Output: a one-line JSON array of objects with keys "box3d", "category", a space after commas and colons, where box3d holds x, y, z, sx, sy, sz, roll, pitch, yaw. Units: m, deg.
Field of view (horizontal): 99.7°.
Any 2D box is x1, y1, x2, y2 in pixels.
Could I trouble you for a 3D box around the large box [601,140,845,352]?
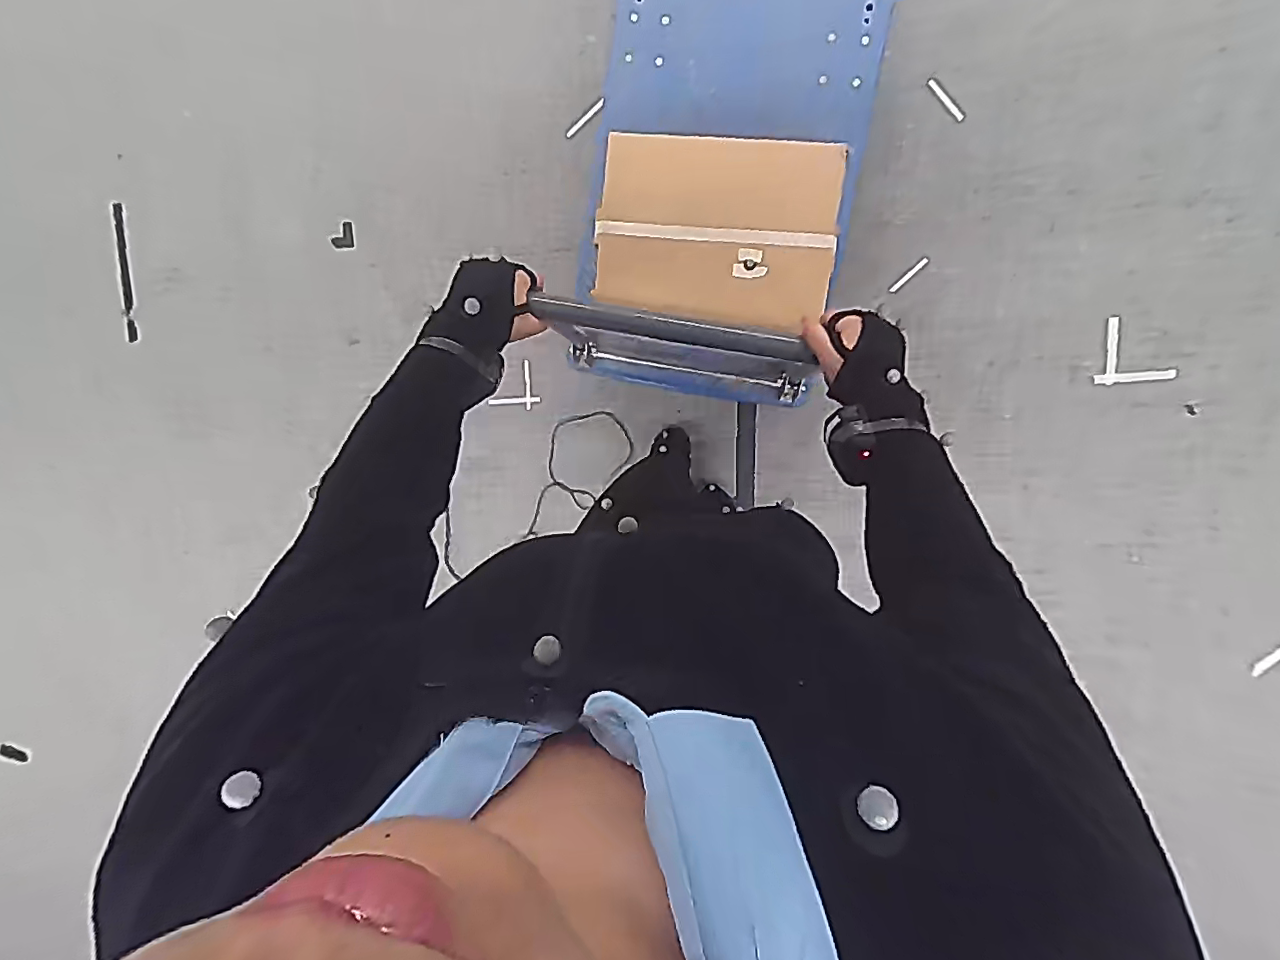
[{"box3d": [0.150, -0.441, 1.089, 0.408, 0.320, 0.320, 6, 99, 5], "category": "large box"}]
